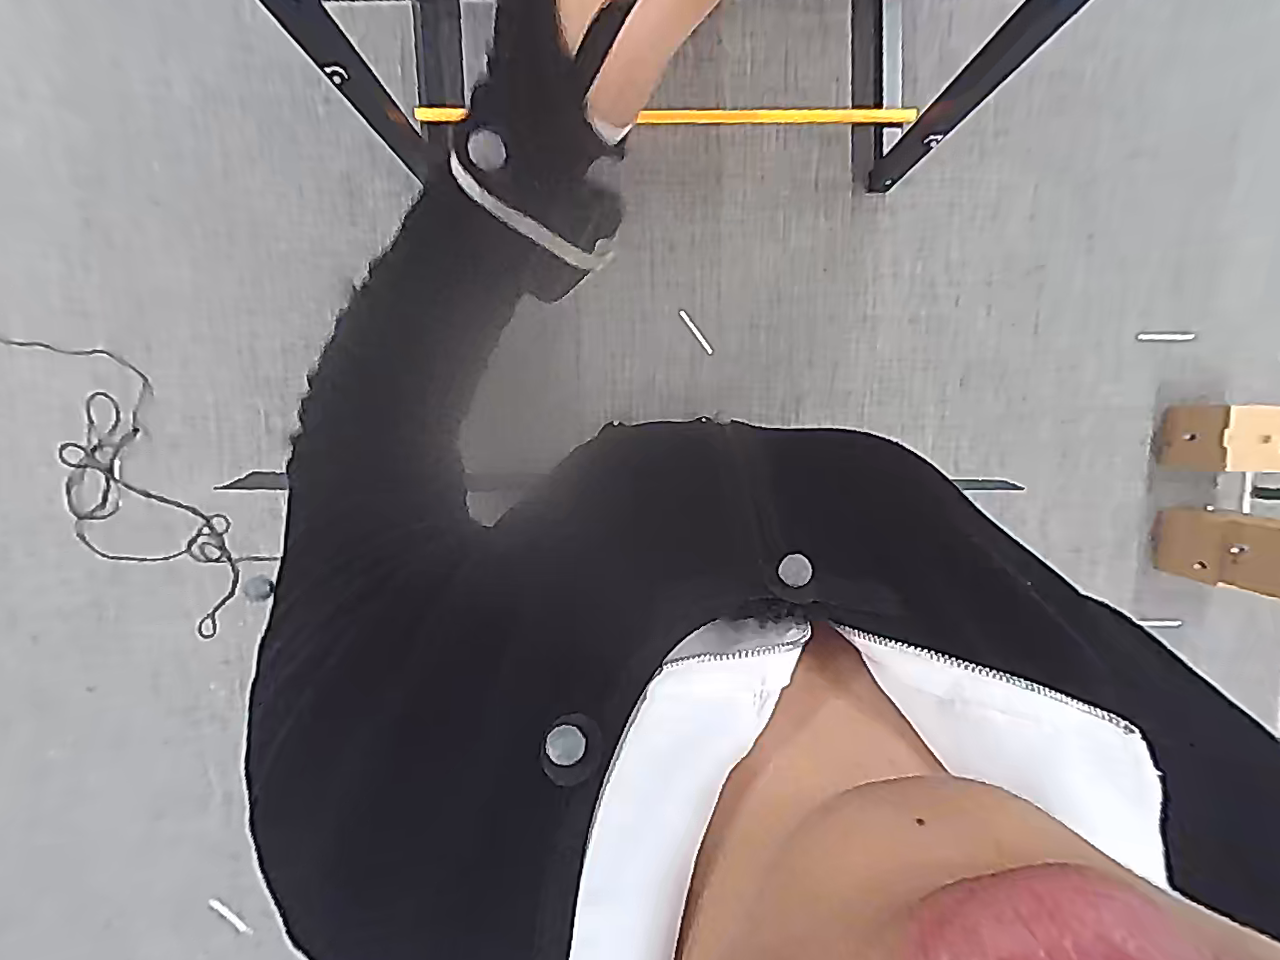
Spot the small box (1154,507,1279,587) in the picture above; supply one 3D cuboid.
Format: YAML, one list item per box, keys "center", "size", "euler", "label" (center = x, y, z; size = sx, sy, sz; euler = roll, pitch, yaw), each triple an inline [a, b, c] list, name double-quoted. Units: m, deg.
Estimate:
- center: [1.525, 0.174, 1.435]
  size: [0.168, 0.176, 0.179]
  euler: [-2, 96, 0]
  label: "small box"

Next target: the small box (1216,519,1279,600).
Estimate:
- center: [1.537, 0.187, 1.273]
  size: [0.179, 0.176, 0.168]
  euler: [0, 96, 1]
  label: "small box"

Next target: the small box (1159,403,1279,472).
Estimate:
- center: [1.515, -0.111, 1.404]
  size: [0.179, 0.176, 0.168]
  euler: [2, 96, 0]
  label: "small box"
